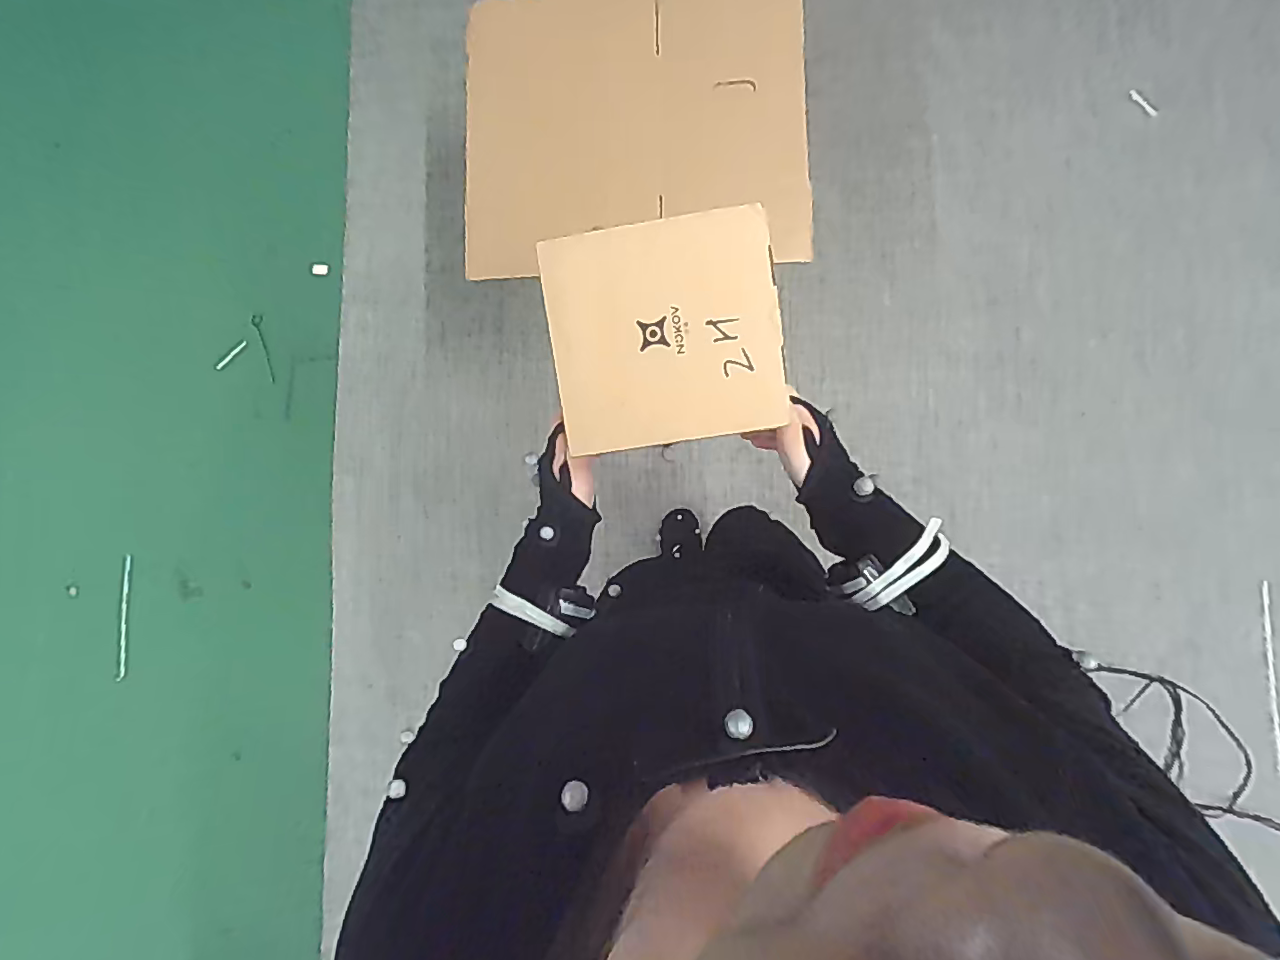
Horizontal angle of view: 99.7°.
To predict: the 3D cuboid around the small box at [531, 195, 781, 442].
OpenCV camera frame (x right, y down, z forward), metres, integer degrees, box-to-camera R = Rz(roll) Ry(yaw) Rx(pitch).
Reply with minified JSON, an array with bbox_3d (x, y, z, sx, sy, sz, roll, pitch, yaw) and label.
[{"bbox_3d":[0.018,-0.125,0.485,0.179,0.176,0.168,-7,96,4],"label":"small box"}]
